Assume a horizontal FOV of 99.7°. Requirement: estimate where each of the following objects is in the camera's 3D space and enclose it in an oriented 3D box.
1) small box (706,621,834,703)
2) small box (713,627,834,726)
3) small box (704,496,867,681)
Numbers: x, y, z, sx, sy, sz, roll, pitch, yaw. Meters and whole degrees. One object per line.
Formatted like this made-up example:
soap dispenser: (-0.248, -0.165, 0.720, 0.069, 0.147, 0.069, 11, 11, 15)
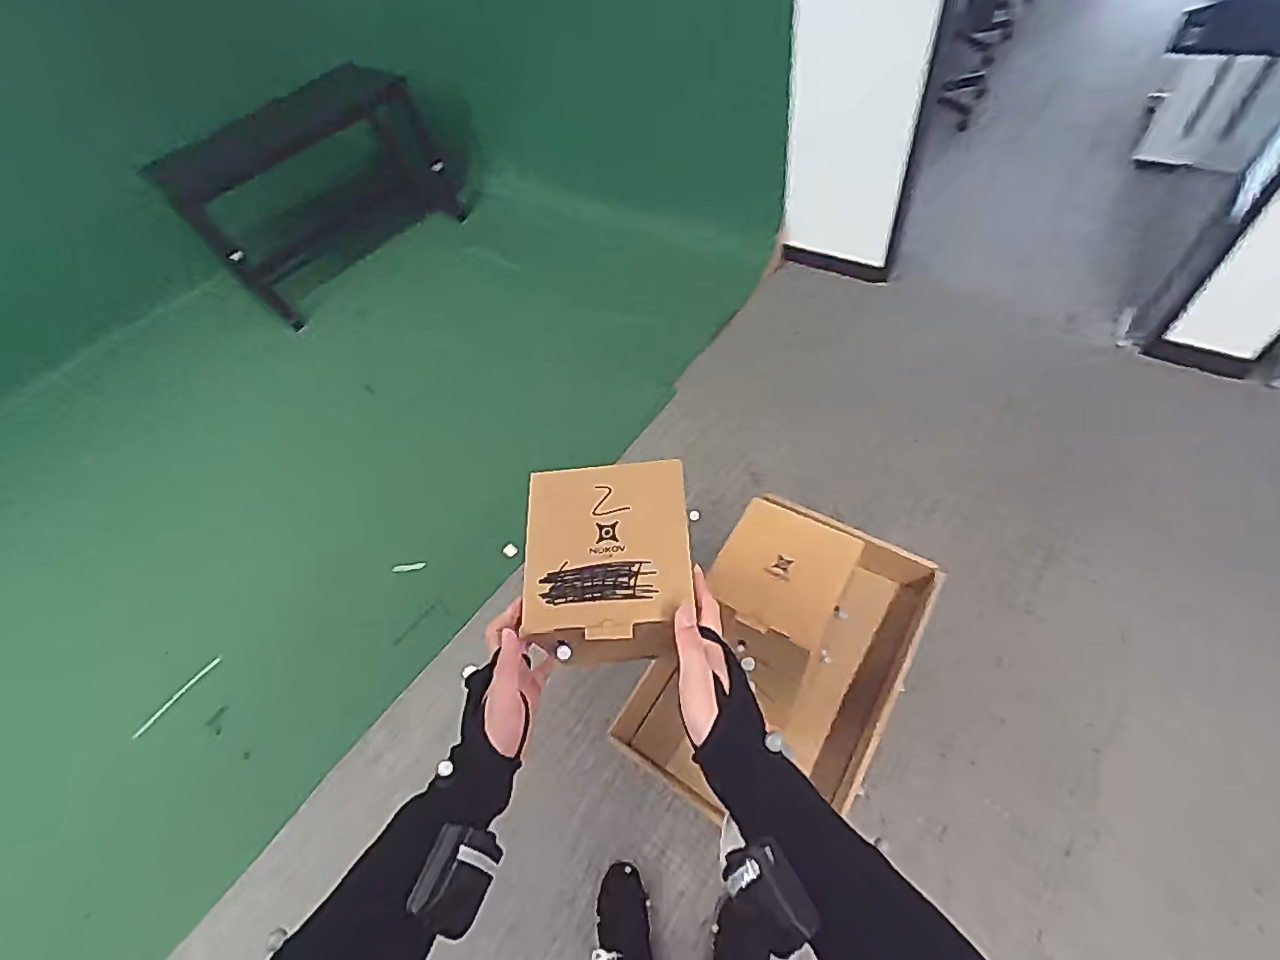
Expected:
small box: (0.230, 0.251, 0.925, 0.168, 0.176, 0.179, 24, 61, 25)
small box: (0.255, 0.346, 1.056, 0.168, 0.176, 0.179, 26, 63, 26)
small box: (0.206, 0.161, 0.791, 0.168, 0.176, 0.179, 24, 63, 24)
